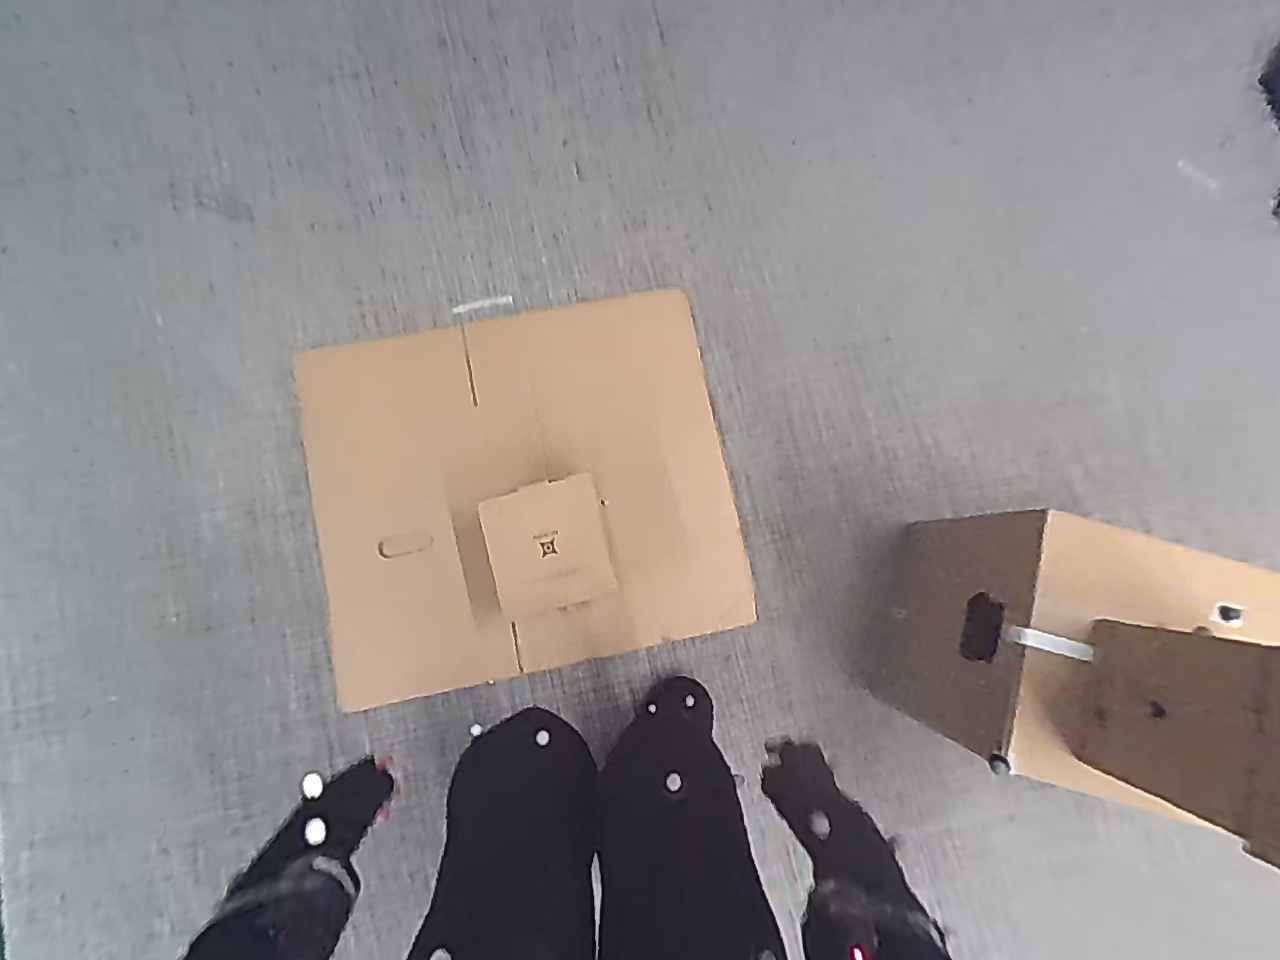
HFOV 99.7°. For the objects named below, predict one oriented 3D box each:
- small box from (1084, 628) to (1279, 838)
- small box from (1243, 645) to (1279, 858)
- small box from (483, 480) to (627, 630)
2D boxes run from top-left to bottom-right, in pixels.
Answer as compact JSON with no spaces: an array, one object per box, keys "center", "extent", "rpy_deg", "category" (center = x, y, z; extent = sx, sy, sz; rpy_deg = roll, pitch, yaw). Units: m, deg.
[{"center":[0.596,0.249,0.544],"extent":[0.179,0.176,0.168],"rpy_deg":[11,80,-1],"category":"small box"},{"center":[0.594,0.232,0.378],"extent":[0.168,0.176,0.179],"rpy_deg":[16,81,0],"category":"small box"},{"center":[-0.122,0.115,0.834],"extent":[0.168,0.176,0.179],"rpy_deg":[-16,83,-1],"category":"small box"}]
